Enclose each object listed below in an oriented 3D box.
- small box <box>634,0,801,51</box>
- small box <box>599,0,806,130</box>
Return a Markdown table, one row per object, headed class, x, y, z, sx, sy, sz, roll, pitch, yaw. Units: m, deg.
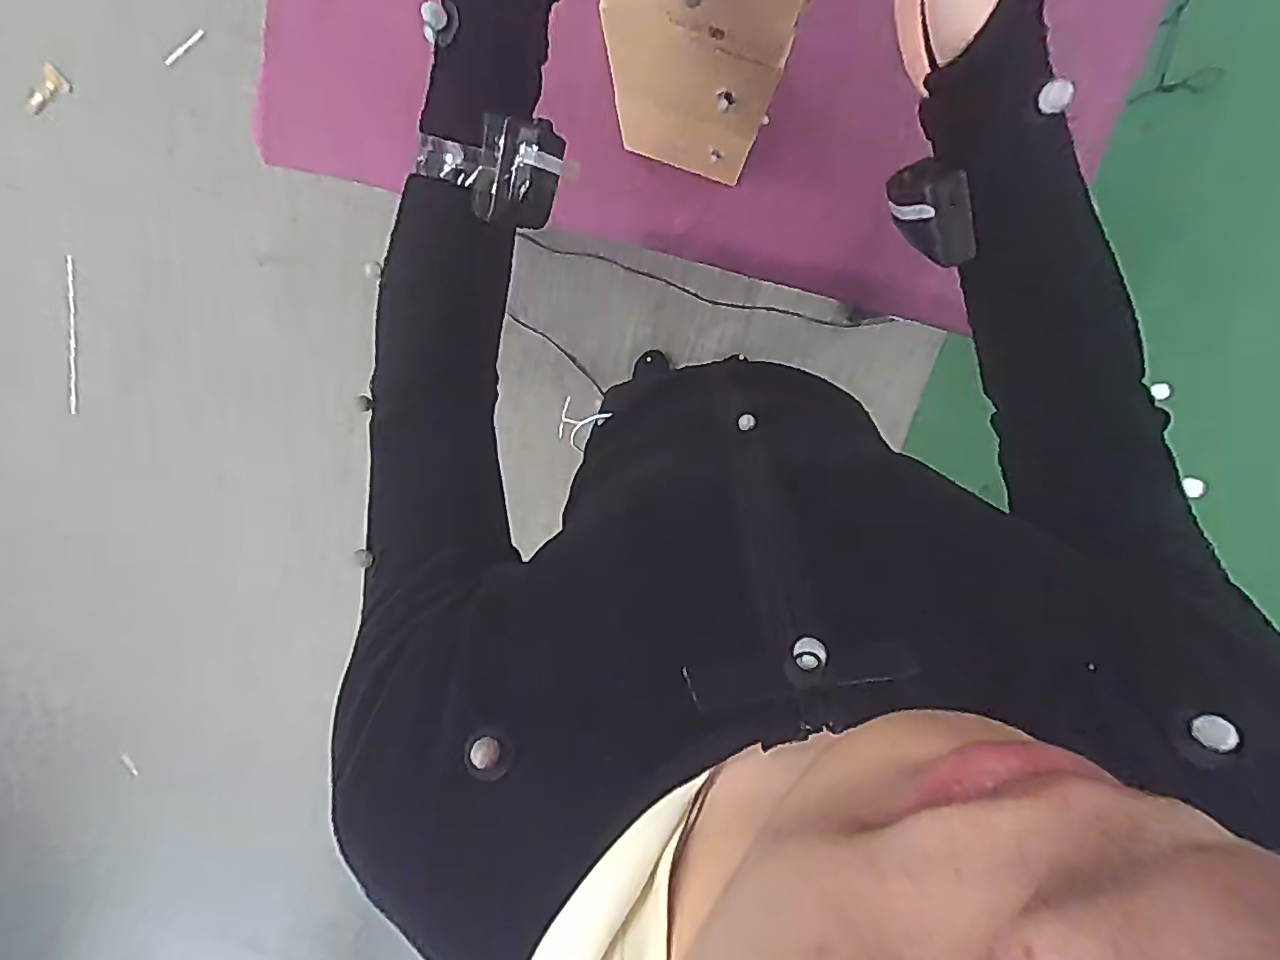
| class | x | y | z | sx | sy | sz | roll | pitch | yaw |
| --- | --- | --- | --- | --- | --- | --- | --- | --- | --- |
| small box | 0.068 | -0.458 | 0.382 | 0.168 | 0.176 | 0.179 | 18 | 103 | -2 |
| small box | 0.074 | -0.488 | 0.542 | 0.179 | 0.176 | 0.168 | 18 | 103 | -1 |
